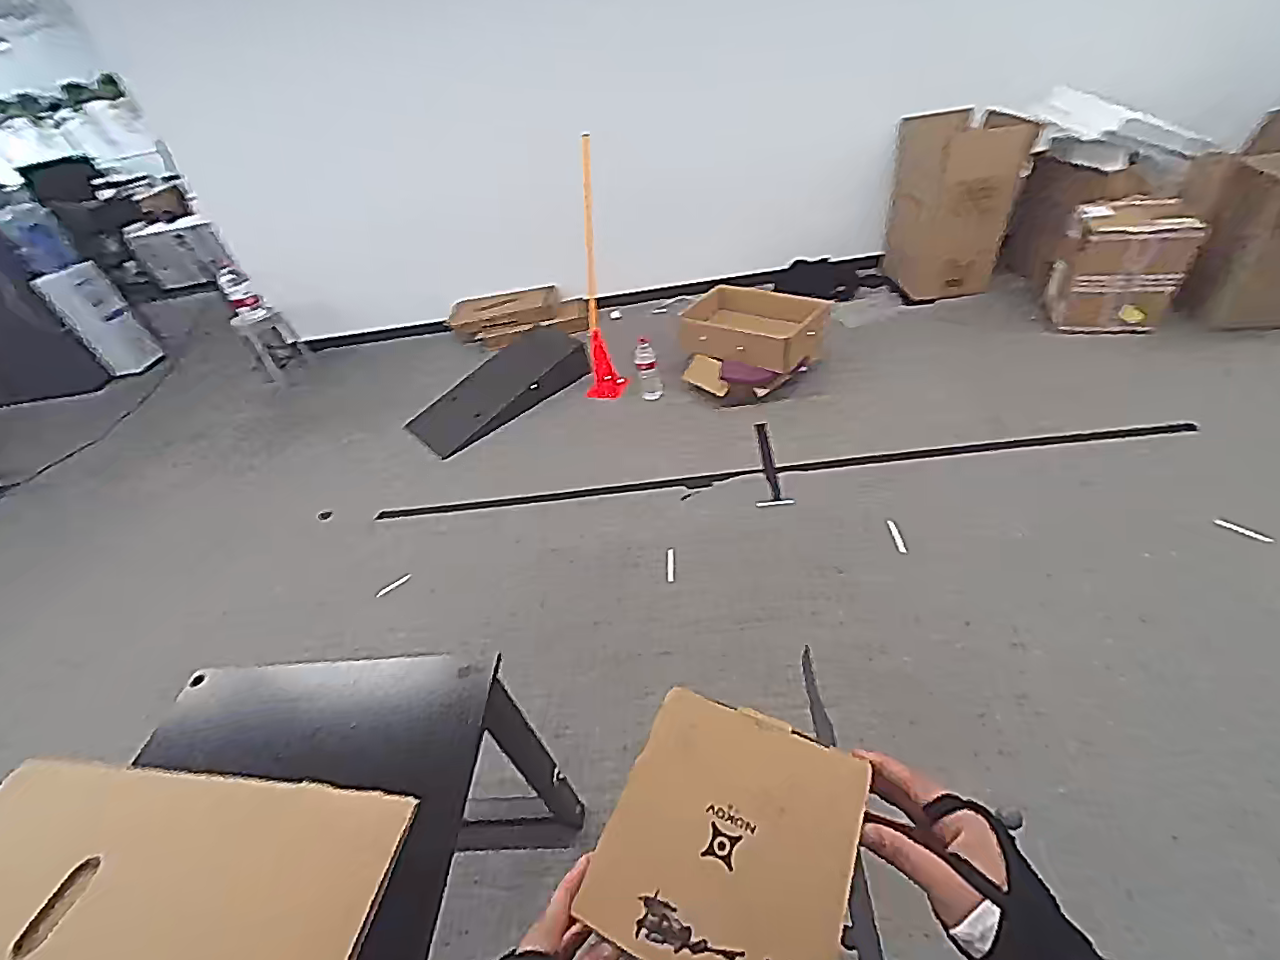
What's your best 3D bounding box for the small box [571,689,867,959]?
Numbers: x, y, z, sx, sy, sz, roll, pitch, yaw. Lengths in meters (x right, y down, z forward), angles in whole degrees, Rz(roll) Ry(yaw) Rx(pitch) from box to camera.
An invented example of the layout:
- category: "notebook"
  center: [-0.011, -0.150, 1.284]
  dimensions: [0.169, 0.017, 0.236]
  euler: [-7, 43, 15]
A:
- category: "small box"
  center: [0.073, 0.310, 0.433]
  dimensions: [0.168, 0.176, 0.179]
  euler: [11, 45, 27]
